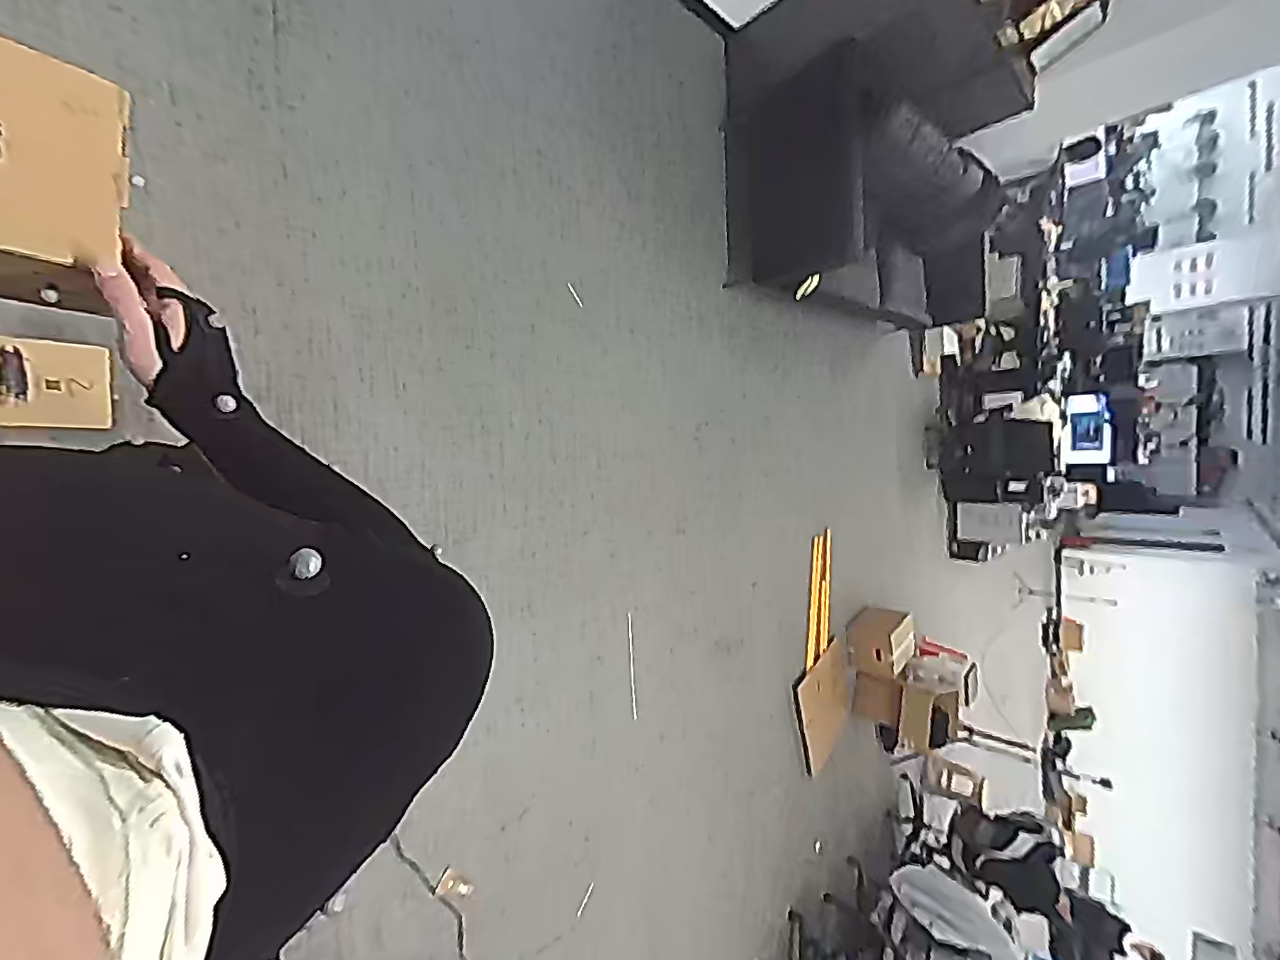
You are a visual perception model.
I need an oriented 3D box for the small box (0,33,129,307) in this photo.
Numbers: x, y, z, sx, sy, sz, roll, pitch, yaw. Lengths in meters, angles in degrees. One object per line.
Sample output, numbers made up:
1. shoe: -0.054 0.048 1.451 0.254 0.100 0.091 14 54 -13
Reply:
1. small box: -0.554 -0.257 0.448 0.179 0.176 0.168 3 87 -46
